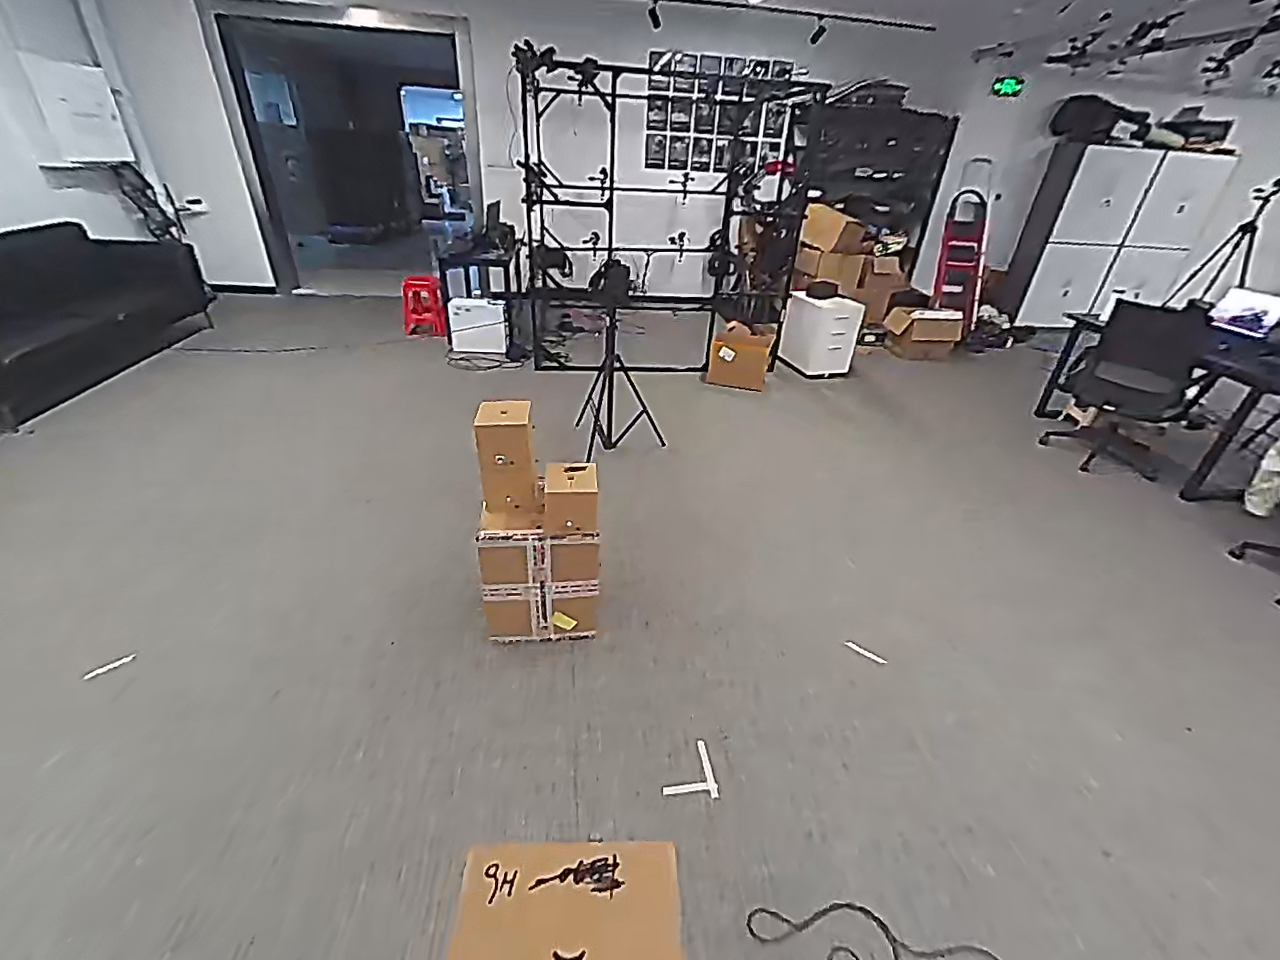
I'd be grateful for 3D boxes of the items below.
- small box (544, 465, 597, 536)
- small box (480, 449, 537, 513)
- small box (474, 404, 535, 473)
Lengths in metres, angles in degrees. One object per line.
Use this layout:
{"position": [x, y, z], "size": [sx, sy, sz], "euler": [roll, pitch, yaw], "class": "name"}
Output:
{"position": [-0.229, 0.067, 1.782], "size": [0.168, 0.176, 0.179], "euler": [0, 33, -7], "class": "small box"}
{"position": [-0.447, -0.001, 1.866], "size": [0.168, 0.176, 0.179], "euler": [-2, 33, -6], "class": "small box"}
{"position": [-0.440, -0.137, 1.778], "size": [0.168, 0.176, 0.179], "euler": [-2, 33, -6], "class": "small box"}
